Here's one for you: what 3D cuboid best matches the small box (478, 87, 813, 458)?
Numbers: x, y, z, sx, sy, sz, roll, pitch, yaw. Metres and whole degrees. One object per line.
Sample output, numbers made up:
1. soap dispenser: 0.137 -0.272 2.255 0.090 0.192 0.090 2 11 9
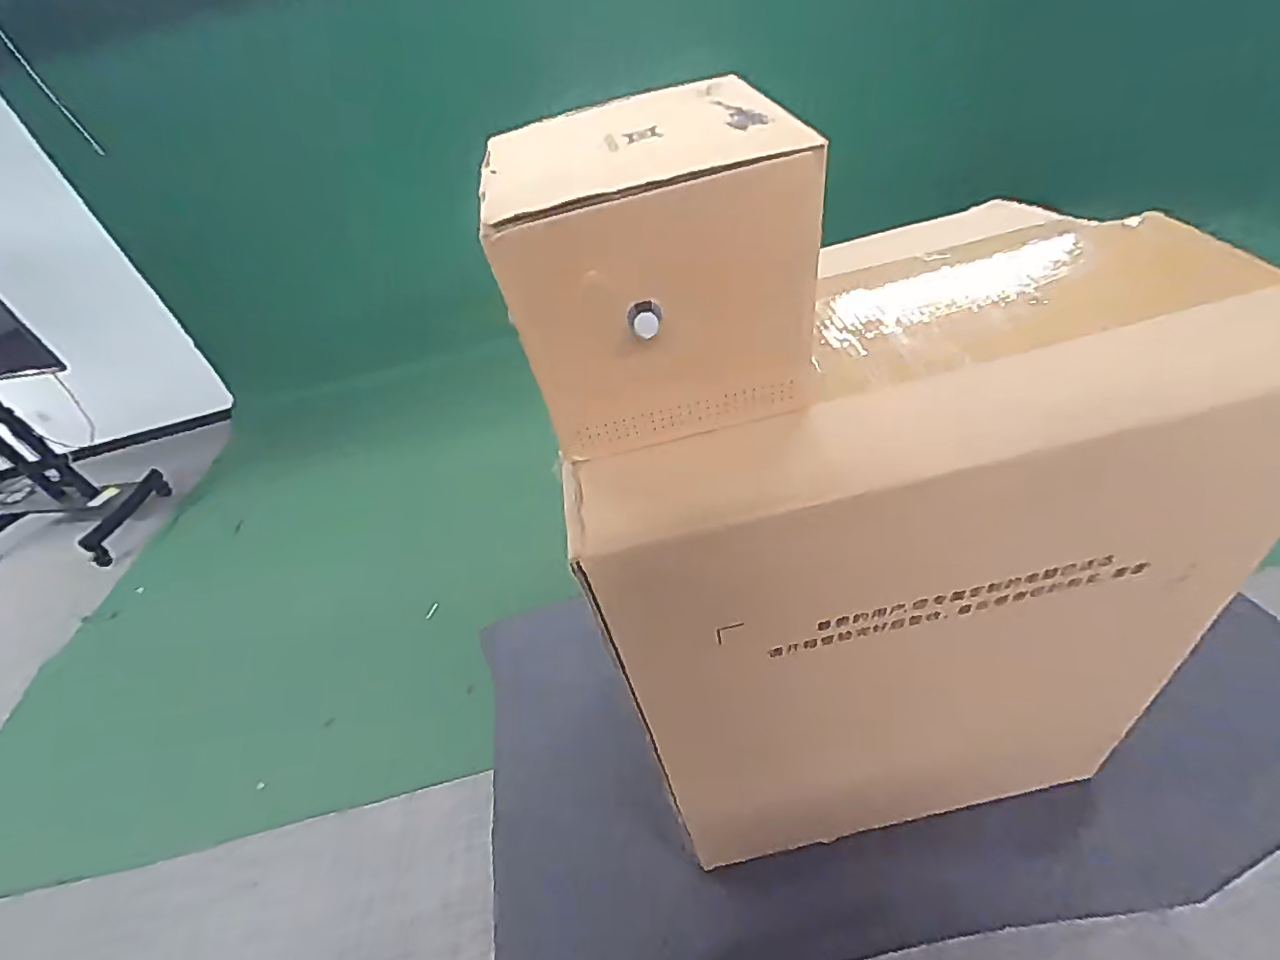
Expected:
1. small box: 0.007 -0.138 0.377 0.179 0.176 0.168 -14 47 2
